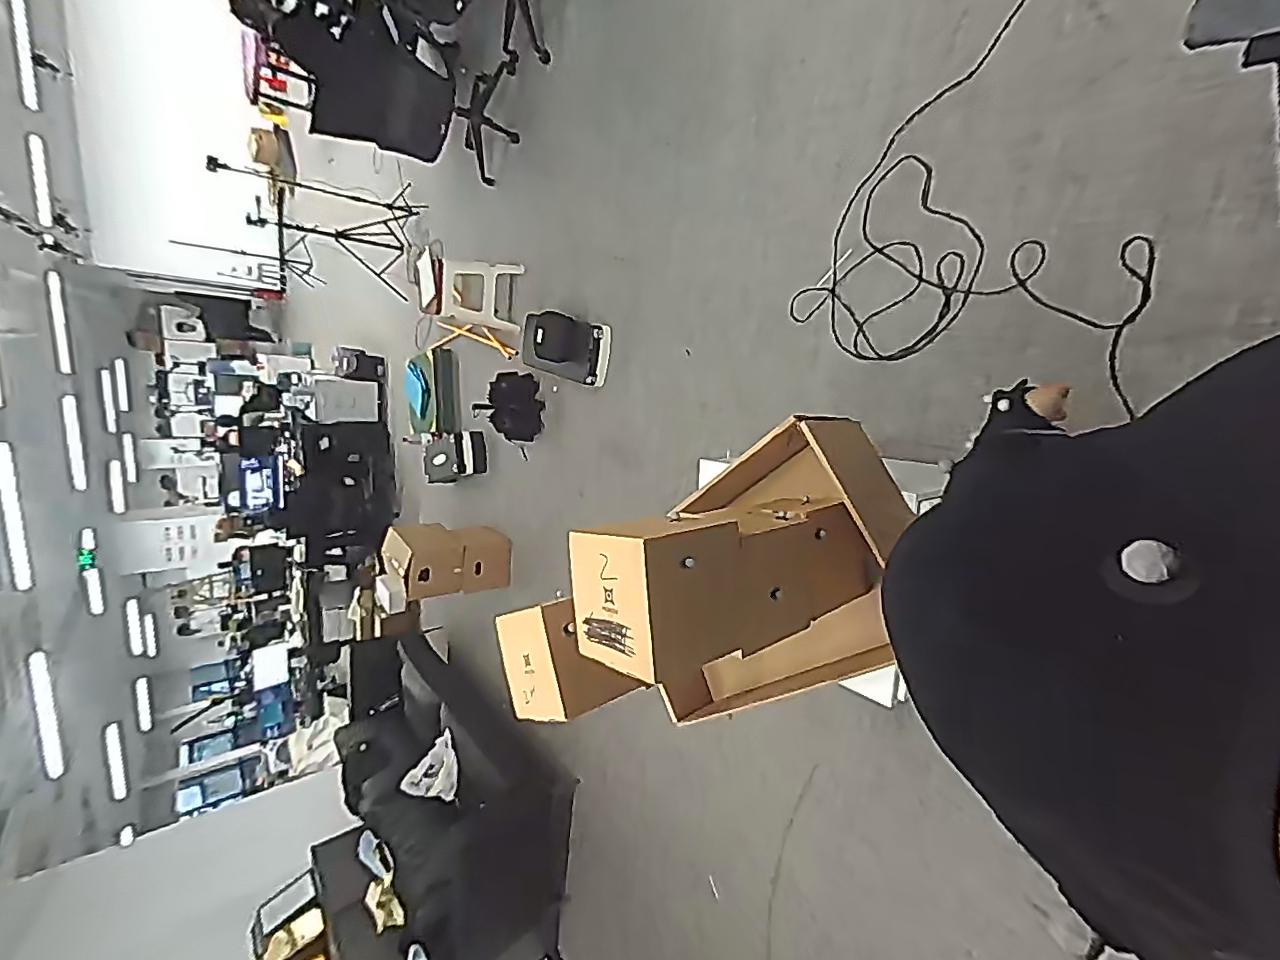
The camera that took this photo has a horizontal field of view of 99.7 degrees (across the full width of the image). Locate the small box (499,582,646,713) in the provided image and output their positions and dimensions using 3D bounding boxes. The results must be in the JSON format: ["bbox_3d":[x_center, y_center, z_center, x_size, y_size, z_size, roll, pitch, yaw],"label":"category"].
[{"bbox_3d":[-0.116,0.281,0.932,0.168,0.176,0.179,-25,77,48],"label":"small box"}]

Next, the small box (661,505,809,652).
[{"bbox_3d":[0.151,0.141,0.855,0.168,0.176,0.179,7,103,51],"label":"small box"}]

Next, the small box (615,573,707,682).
[{"bbox_3d":[0.000,0.280,1.050,0.179,0.176,0.168,-20,81,47],"label":"small box"}]
